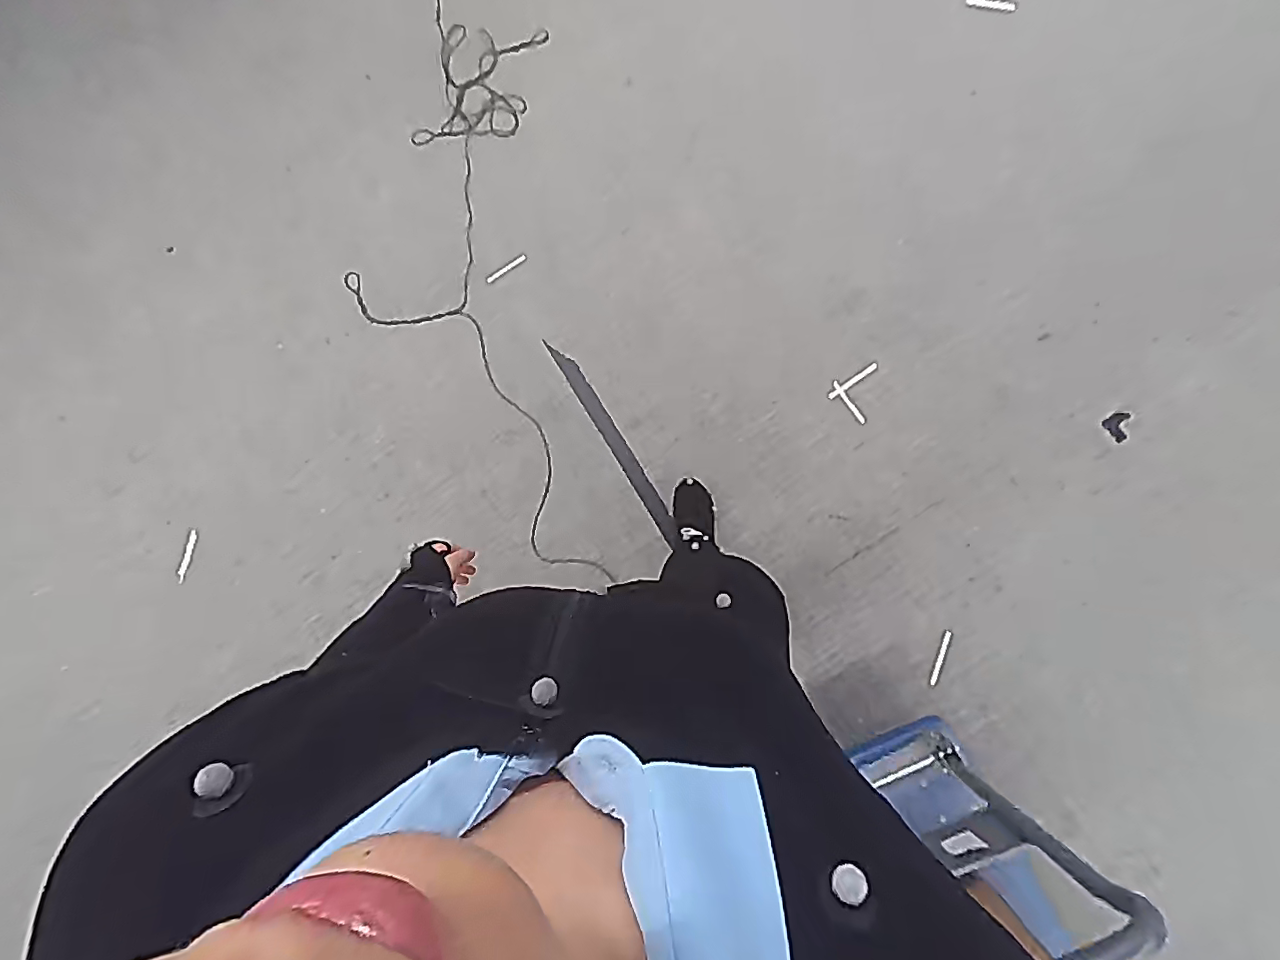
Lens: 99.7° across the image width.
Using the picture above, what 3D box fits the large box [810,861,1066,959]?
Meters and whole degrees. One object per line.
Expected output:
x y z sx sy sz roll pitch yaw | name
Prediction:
0.592 1.016 1.005 0.408 0.320 0.320 -25 81 2 | large box
